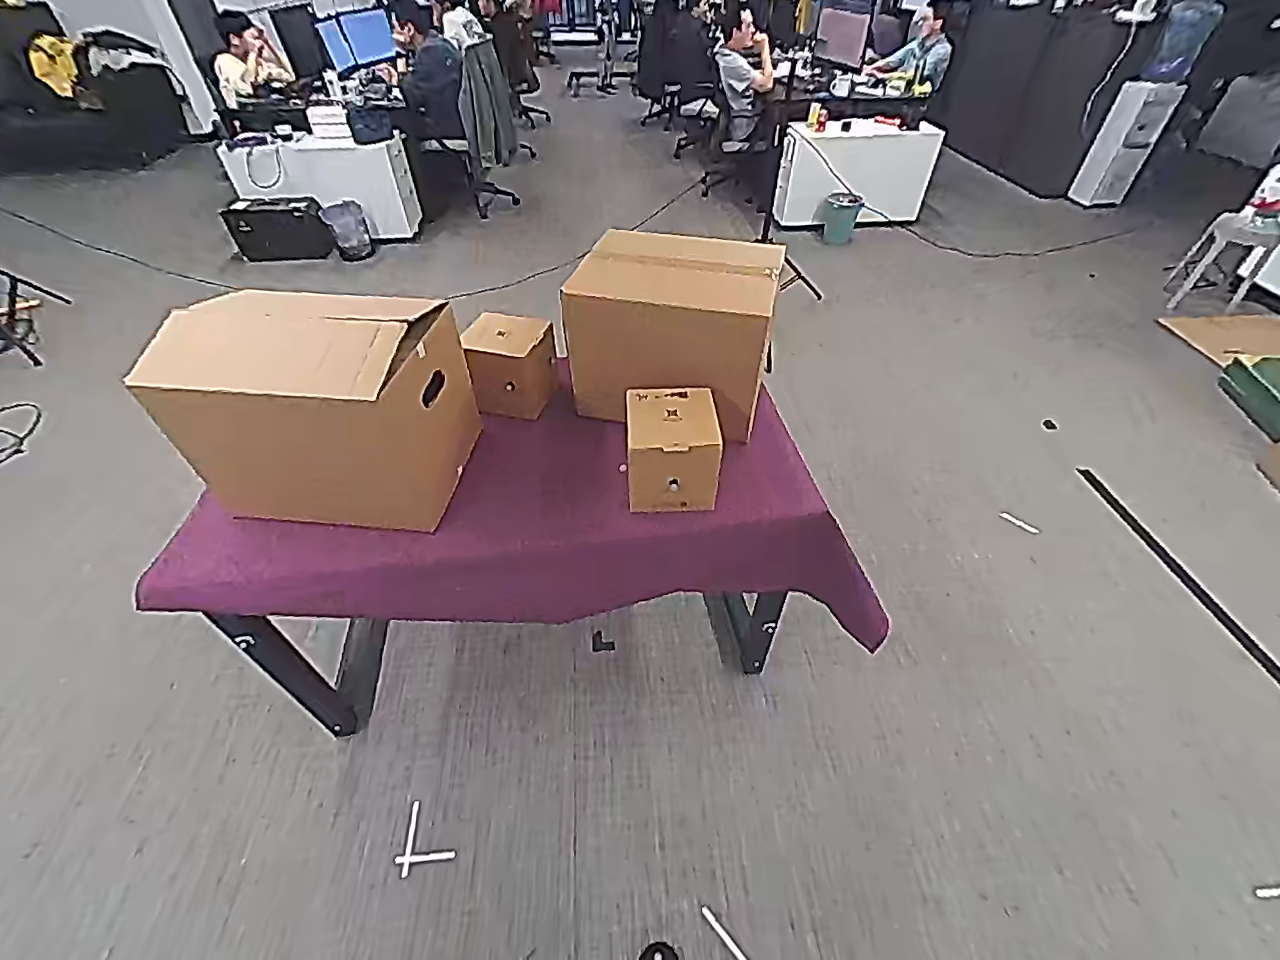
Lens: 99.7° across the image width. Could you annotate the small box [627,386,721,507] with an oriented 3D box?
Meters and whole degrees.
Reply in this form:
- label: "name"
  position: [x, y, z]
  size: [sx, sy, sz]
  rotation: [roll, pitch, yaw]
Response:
- label: "small box"
  position: [0.060, -0.061, 1.043]
  size: [0.168, 0.176, 0.179]
  rotation: [-2, 45, -1]
